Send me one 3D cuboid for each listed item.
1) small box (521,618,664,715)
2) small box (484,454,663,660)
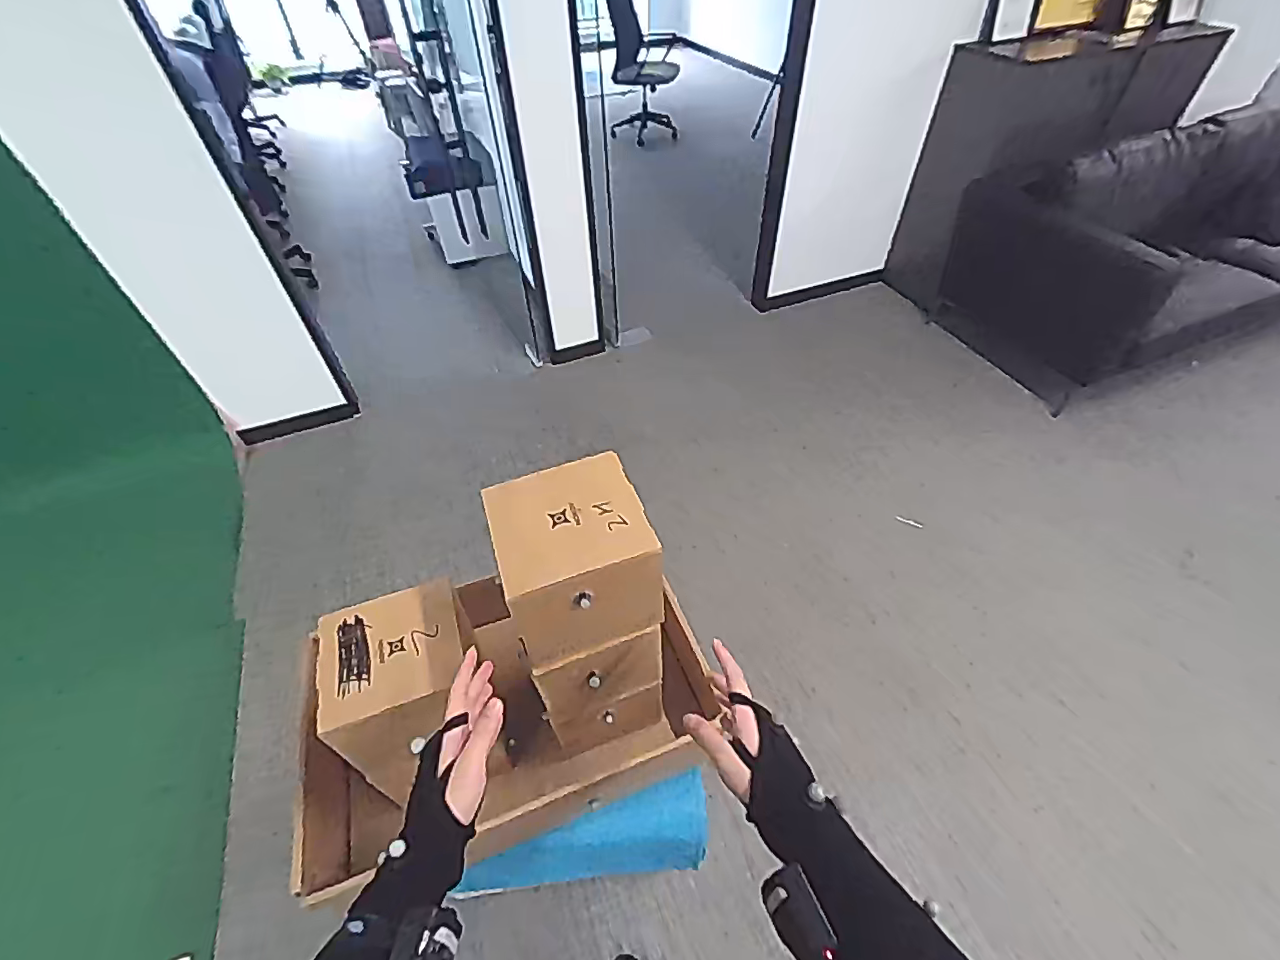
[{"bbox_3d":[-0.073,0.217,0.799,0.179,0.176,0.168,-19,49,-11],"label":"small box"},{"bbox_3d":[-0.078,0.100,0.682,0.179,0.176,0.168,-17,49,-11],"label":"small box"}]
